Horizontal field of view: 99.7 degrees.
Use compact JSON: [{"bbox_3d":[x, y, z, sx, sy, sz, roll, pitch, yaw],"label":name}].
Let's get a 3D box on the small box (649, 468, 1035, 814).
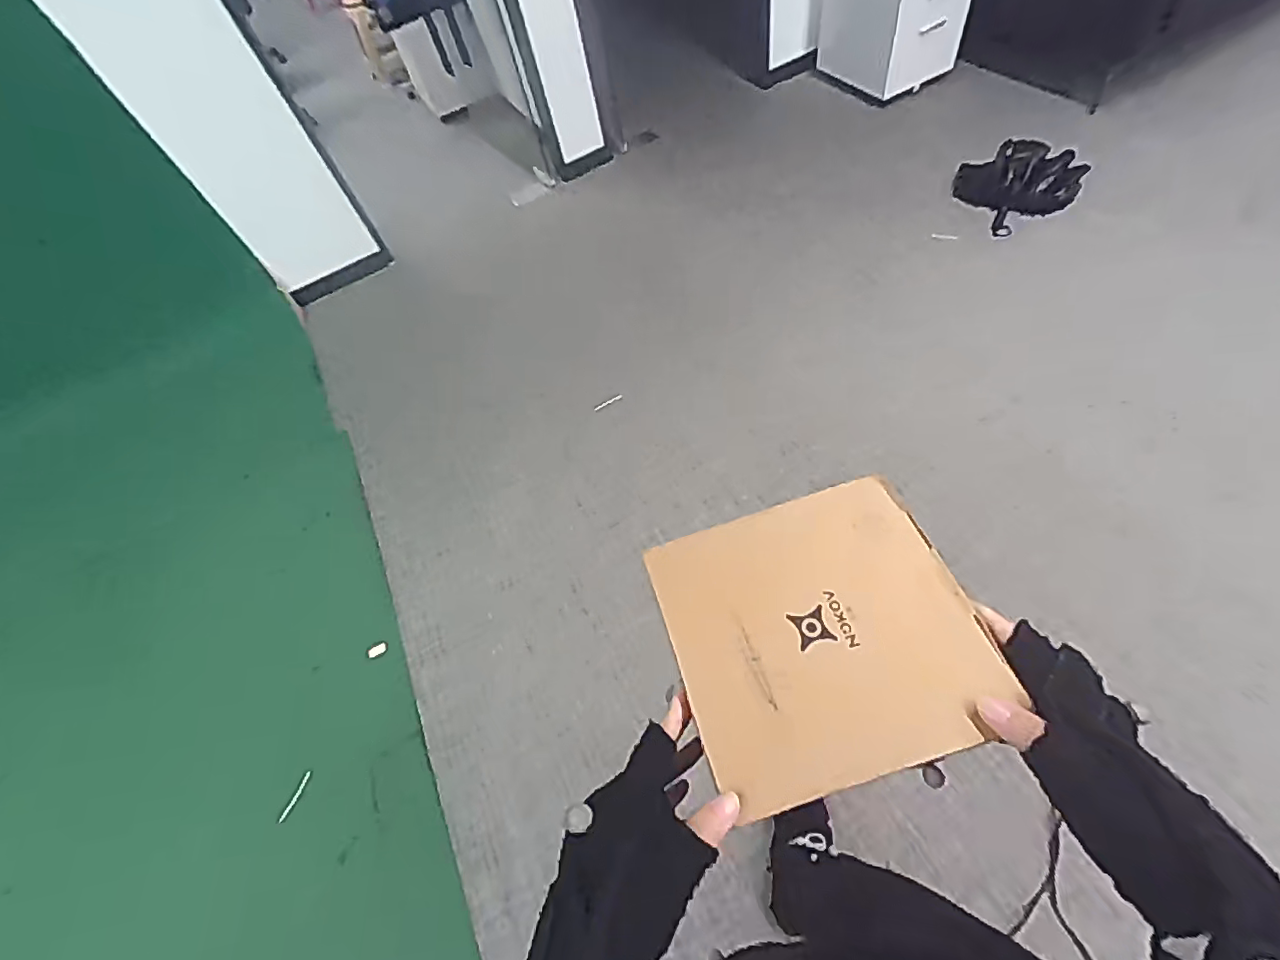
[{"bbox_3d":[0.121,0.123,0.395,0.179,0.176,0.168,-20,57,-1],"label":"small box"}]
